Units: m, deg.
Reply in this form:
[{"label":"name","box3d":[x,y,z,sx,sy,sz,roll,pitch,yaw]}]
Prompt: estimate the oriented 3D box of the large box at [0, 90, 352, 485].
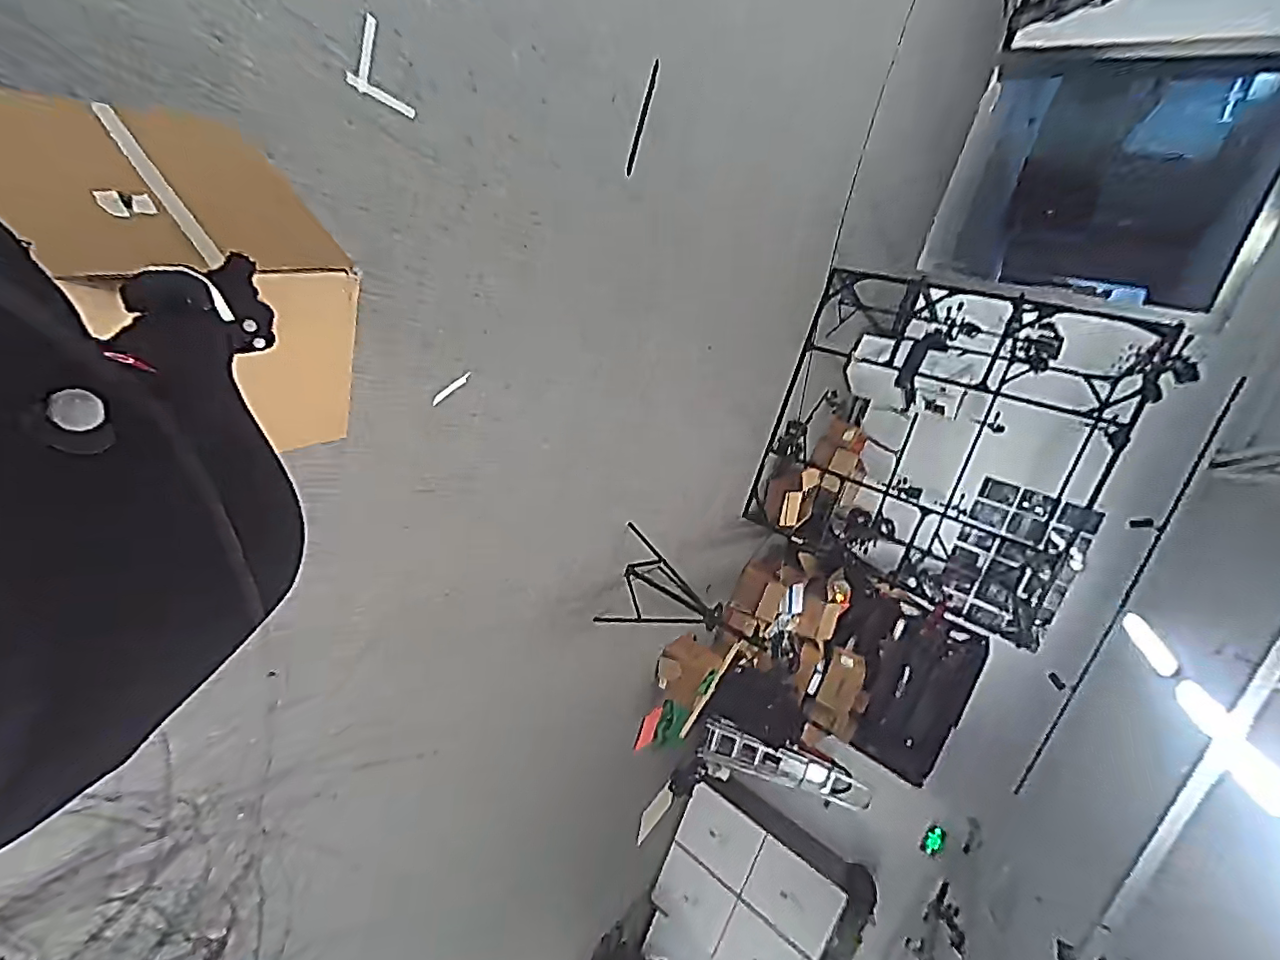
[{"label":"large box","box3d":[-0.673,-0.268,0.763,0.320,0.408,0.320,-28,157,-45]}]
